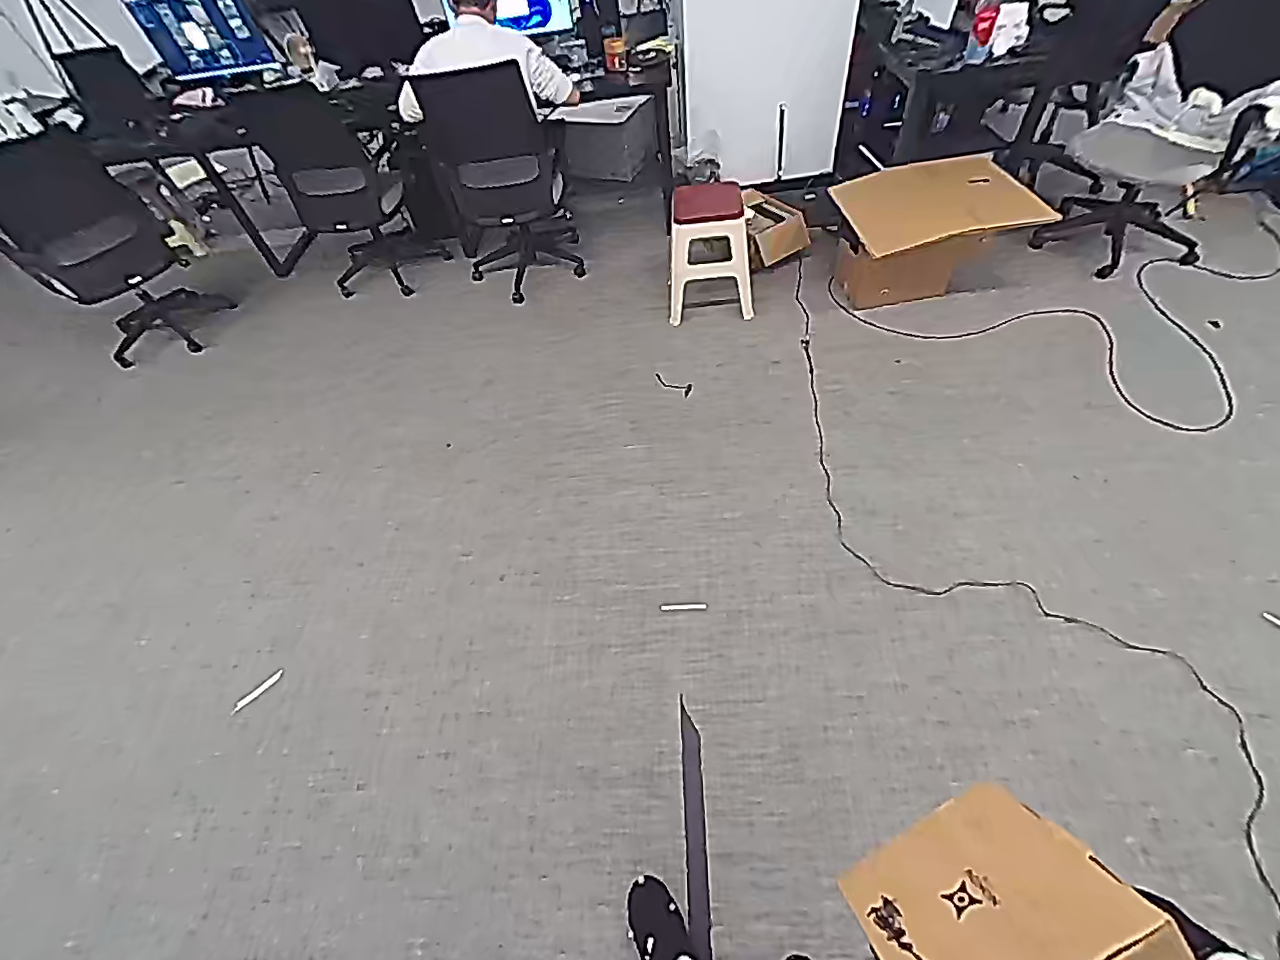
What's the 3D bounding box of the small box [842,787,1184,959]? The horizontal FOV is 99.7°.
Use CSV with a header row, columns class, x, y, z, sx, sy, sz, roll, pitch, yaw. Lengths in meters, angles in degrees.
class,x,y,z,sx,sy,sz,roll,pitch,yaw
small box,0.305,0.403,0.433,0.179,0.168,0.176,-30,91,-3
